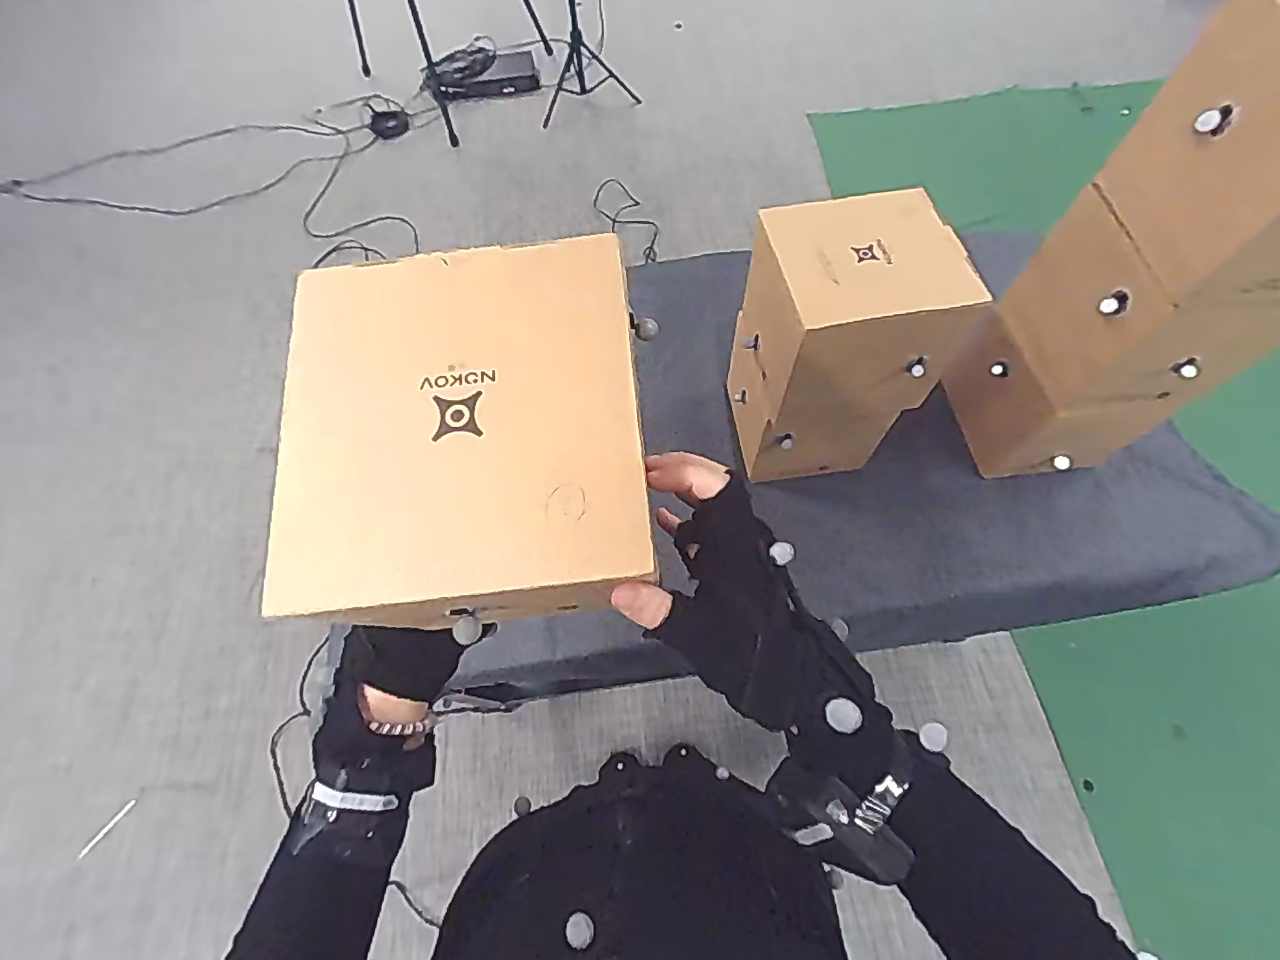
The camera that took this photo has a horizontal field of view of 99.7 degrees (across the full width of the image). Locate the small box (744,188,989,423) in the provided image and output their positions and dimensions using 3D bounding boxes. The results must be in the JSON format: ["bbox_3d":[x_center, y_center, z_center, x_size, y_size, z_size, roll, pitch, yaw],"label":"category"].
[{"bbox_3d":[0.225,-0.182,0.593,0.179,0.176,0.168,-9,63,-1],"label":"small box"}]

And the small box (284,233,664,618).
[{"bbox_3d":[-0.075,-0.012,0.330,0.168,0.176,0.179,-6,72,1],"label":"small box"}]

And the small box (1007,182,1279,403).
[{"bbox_3d":[0.546,-0.196,0.582,0.168,0.176,0.179,-5,63,1],"label":"small box"}]
